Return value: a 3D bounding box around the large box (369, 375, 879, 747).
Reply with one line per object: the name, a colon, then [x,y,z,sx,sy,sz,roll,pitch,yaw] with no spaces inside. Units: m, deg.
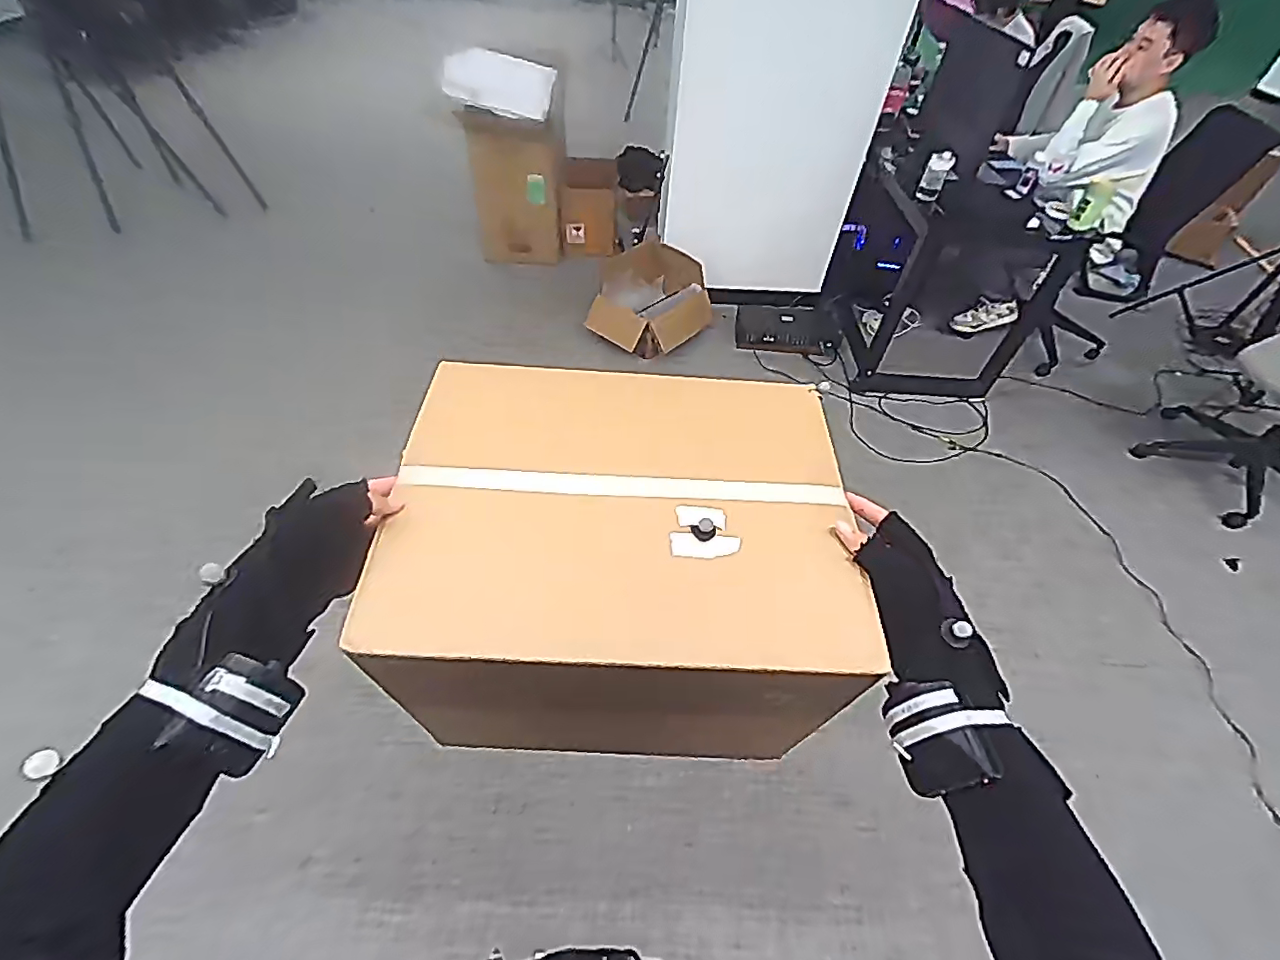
large box: [-0.019,0.105,0.620,0.408,0.320,0.320,3,53,-3]
